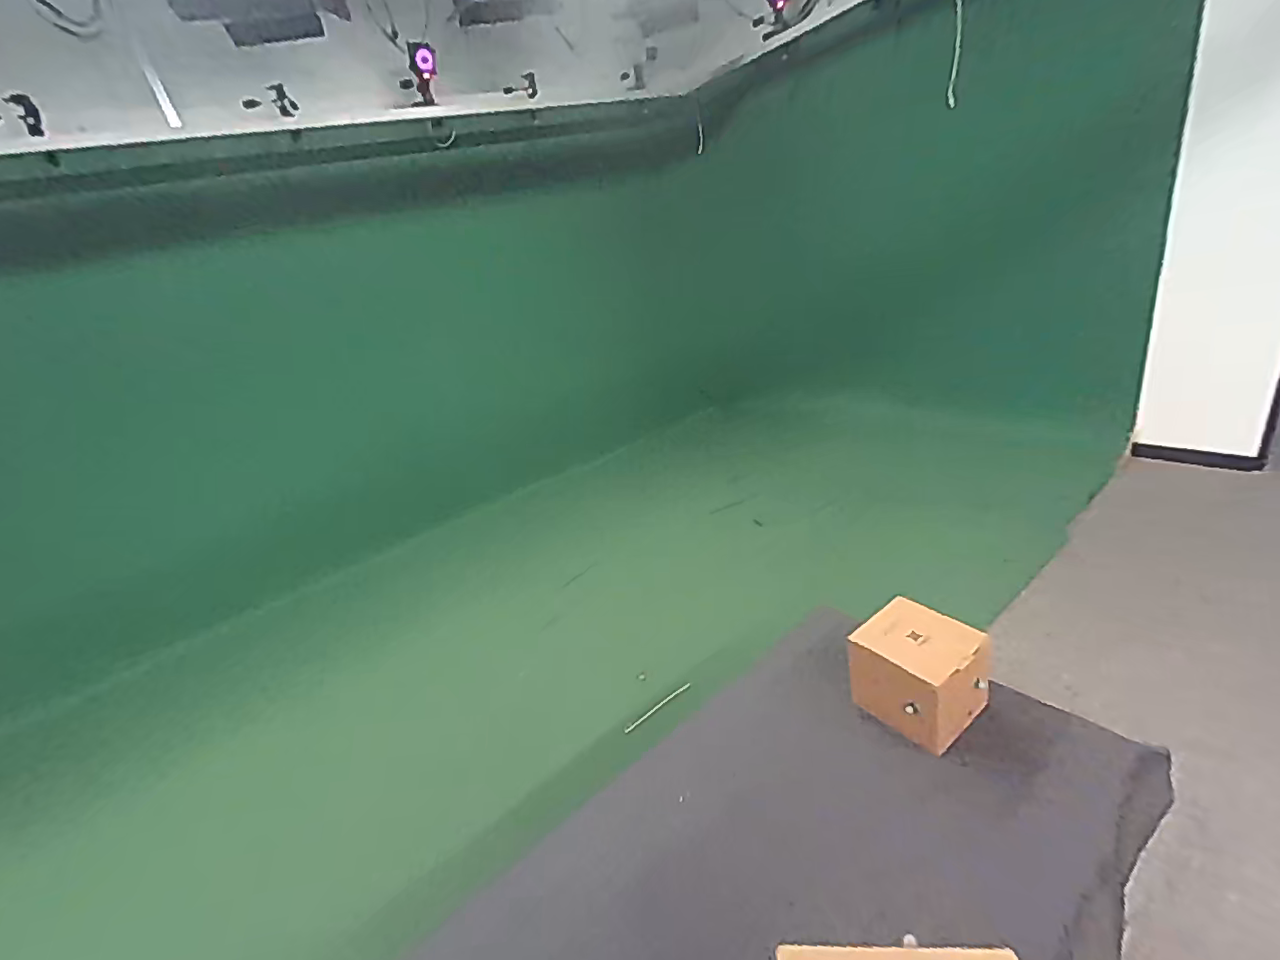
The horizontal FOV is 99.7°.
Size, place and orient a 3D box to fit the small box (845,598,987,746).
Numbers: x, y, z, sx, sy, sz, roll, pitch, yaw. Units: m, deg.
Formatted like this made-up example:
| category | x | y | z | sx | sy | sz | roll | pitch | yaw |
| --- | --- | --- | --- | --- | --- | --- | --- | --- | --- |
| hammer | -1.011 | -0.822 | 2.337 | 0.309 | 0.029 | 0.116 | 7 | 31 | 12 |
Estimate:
| category | x | y | z | sx | sy | sz | roll | pitch | yaw |
| --- | --- | --- | --- | --- | --- | --- | --- | --- | --- |
| small box | 0.509 | 0.356 | 1.002 | 0.168 | 0.176 | 0.179 | -25 | 25 | -27 |
